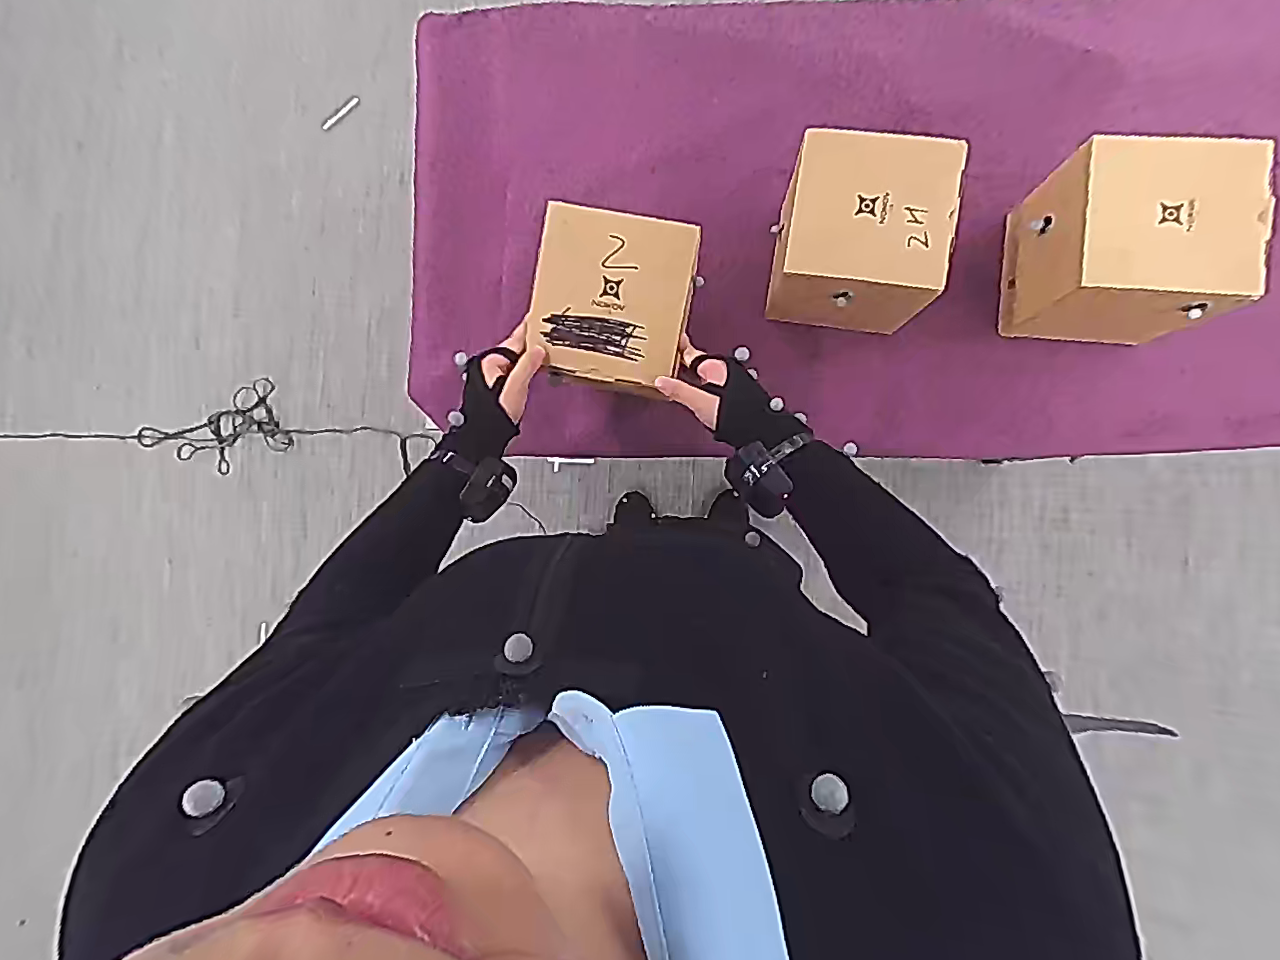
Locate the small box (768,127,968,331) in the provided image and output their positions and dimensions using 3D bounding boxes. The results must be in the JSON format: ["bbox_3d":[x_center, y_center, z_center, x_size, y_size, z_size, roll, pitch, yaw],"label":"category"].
[{"bbox_3d":[0.263,-0.296,0.668,0.179,0.176,0.168,10,90,6],"label":"small box"}]

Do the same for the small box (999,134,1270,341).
[{"bbox_3d":[0.560,-0.271,0.639,0.179,0.176,0.168,5,88,6],"label":"small box"}]
